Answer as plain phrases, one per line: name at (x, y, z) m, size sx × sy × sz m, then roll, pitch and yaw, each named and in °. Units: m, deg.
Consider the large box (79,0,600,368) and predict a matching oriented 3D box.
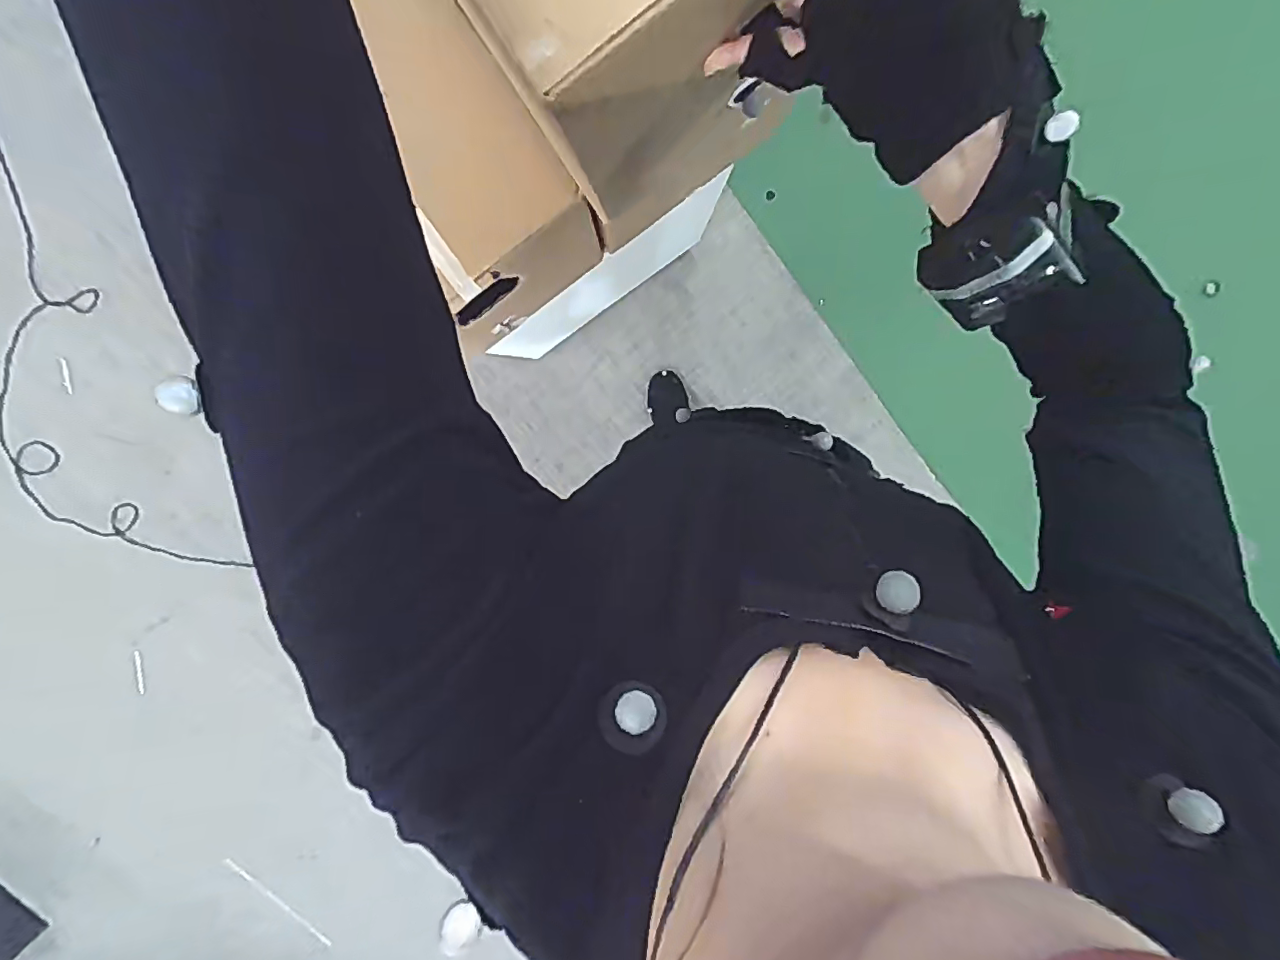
large box at (-0.298, -0.391, 0.673) m, size 0.320 × 0.320 × 0.408 m, roll -35°, pitch 98°, yaw 6°
